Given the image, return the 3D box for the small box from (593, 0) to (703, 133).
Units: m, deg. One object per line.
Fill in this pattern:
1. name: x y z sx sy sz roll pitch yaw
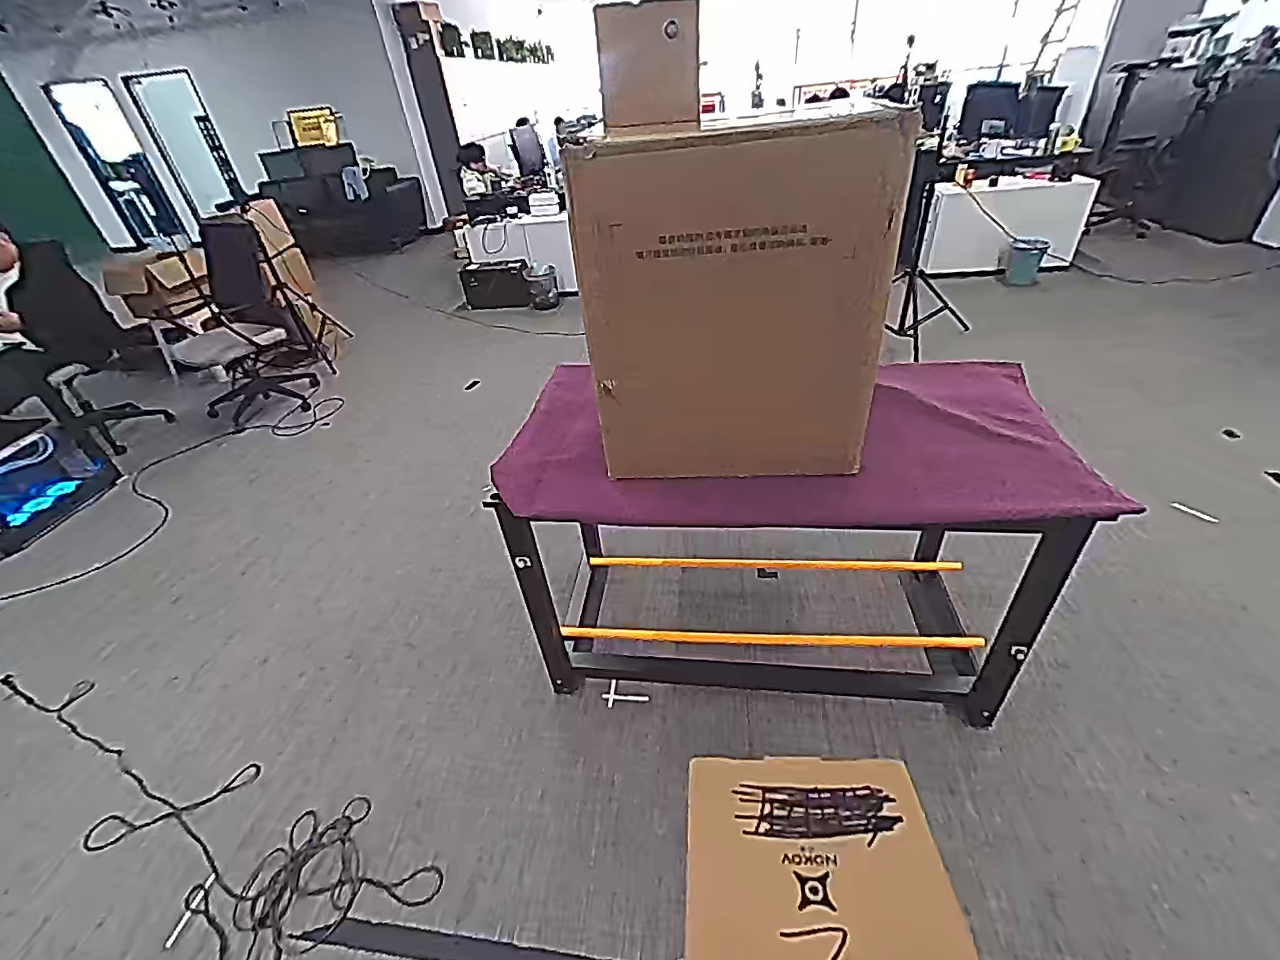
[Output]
1. small box: 0.023 -0.733 0.968 0.179 0.176 0.168 -1 36 6
